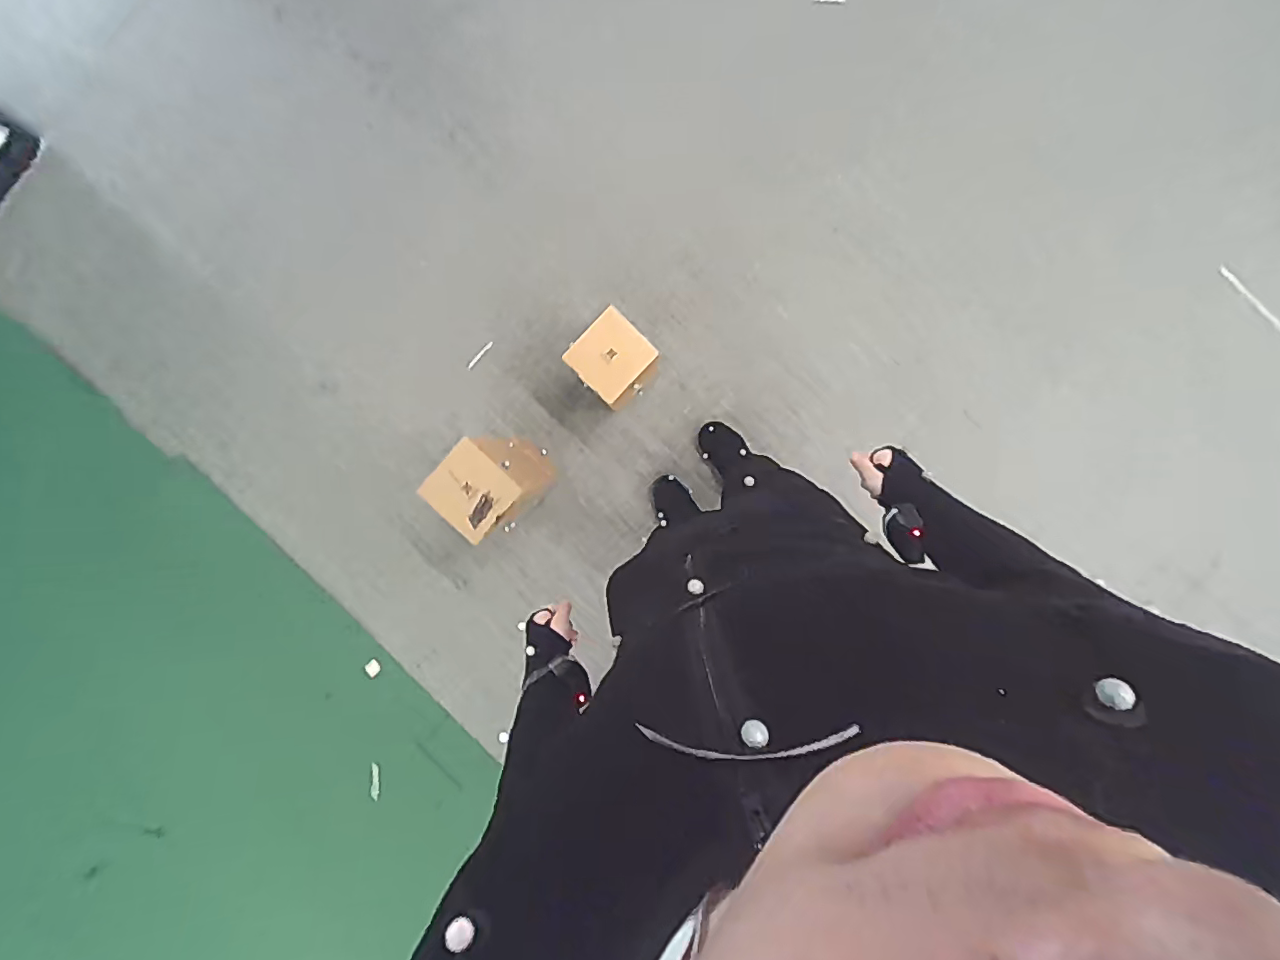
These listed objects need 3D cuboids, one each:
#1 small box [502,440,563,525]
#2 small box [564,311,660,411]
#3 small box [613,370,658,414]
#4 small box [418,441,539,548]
[{"bbox_3d":[-0.346,0.005,1.560,0.168,0.176,0.179,44,94,1],"label":"small box"},{"bbox_3d":[-0.066,-0.293,1.369,0.168,0.176,0.179,44,95,0],"label":"small box"},{"bbox_3d":[-0.065,-0.302,1.531,0.168,0.176,0.179,-45,90,3],"label":"small box"},{"bbox_3d":[-0.357,0.027,1.232,0.179,0.176,0.168,42,94,2],"label":"small box"}]
